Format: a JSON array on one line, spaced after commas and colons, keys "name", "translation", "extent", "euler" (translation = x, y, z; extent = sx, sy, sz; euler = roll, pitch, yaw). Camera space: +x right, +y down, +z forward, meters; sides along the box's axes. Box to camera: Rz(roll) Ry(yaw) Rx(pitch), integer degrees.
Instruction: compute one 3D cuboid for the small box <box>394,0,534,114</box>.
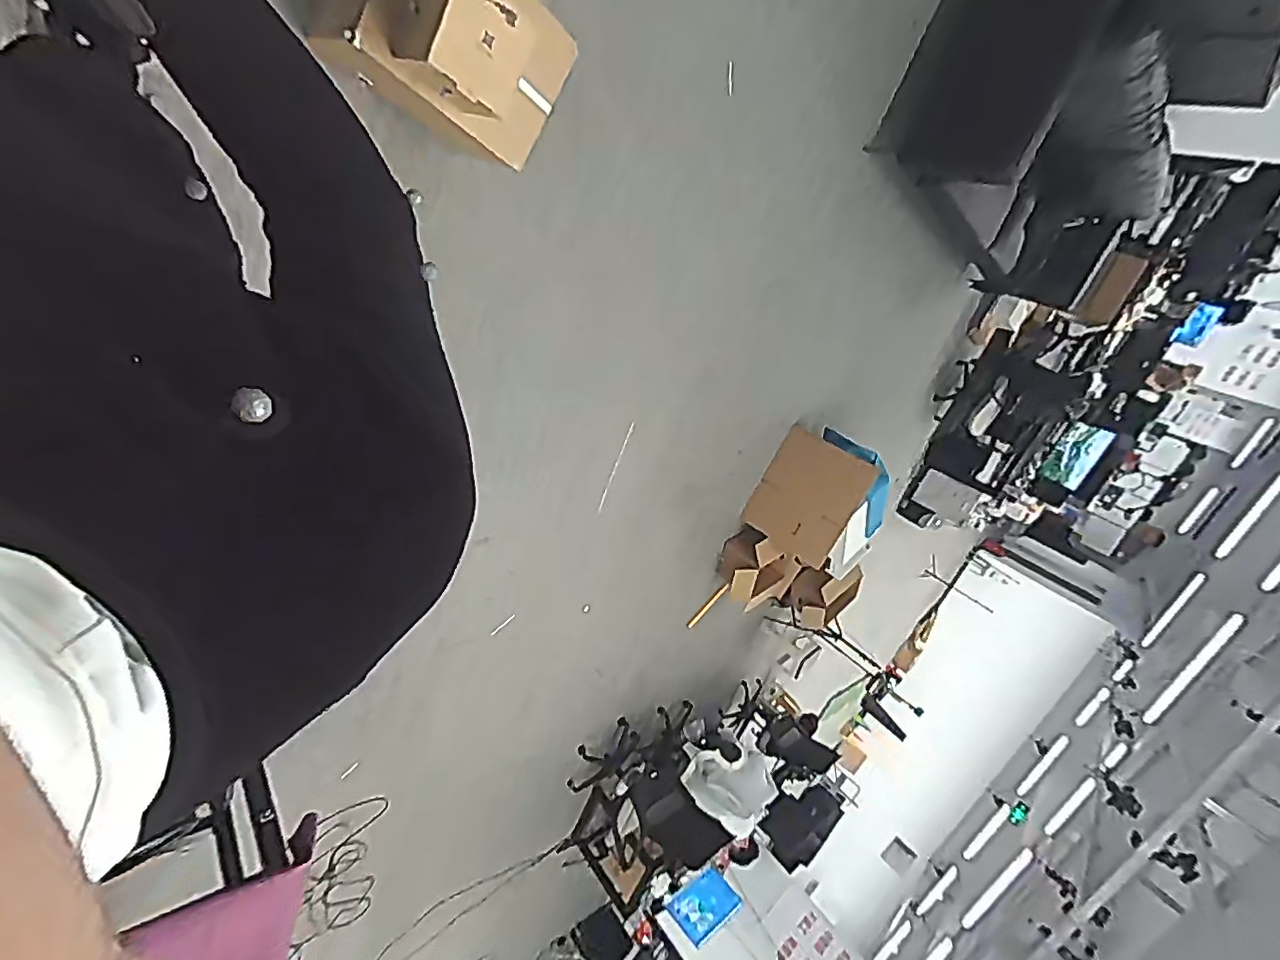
[{"name": "small box", "translation": [-0.339, -0.841, 1.023], "extent": [0.168, 0.176, 0.179], "euler": [11, 112, -51]}]
